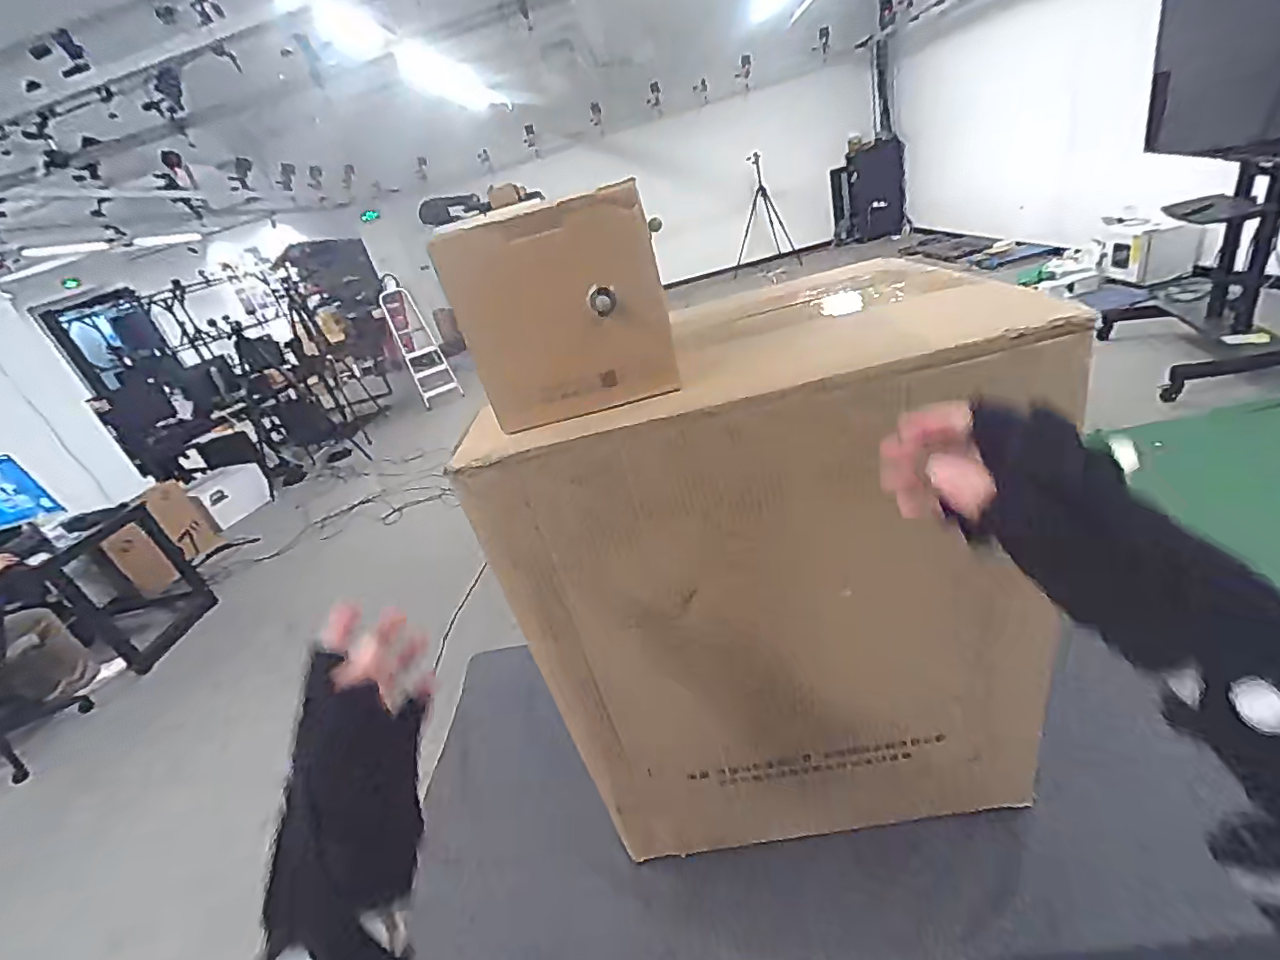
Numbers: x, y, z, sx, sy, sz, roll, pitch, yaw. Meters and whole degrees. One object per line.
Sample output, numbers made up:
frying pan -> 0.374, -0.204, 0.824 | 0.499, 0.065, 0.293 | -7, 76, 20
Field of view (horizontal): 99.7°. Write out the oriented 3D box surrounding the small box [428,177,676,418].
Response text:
small box -> -0.065, -0.168, 0.507 | 0.168, 0.176, 0.179 | -12, 28, 4
